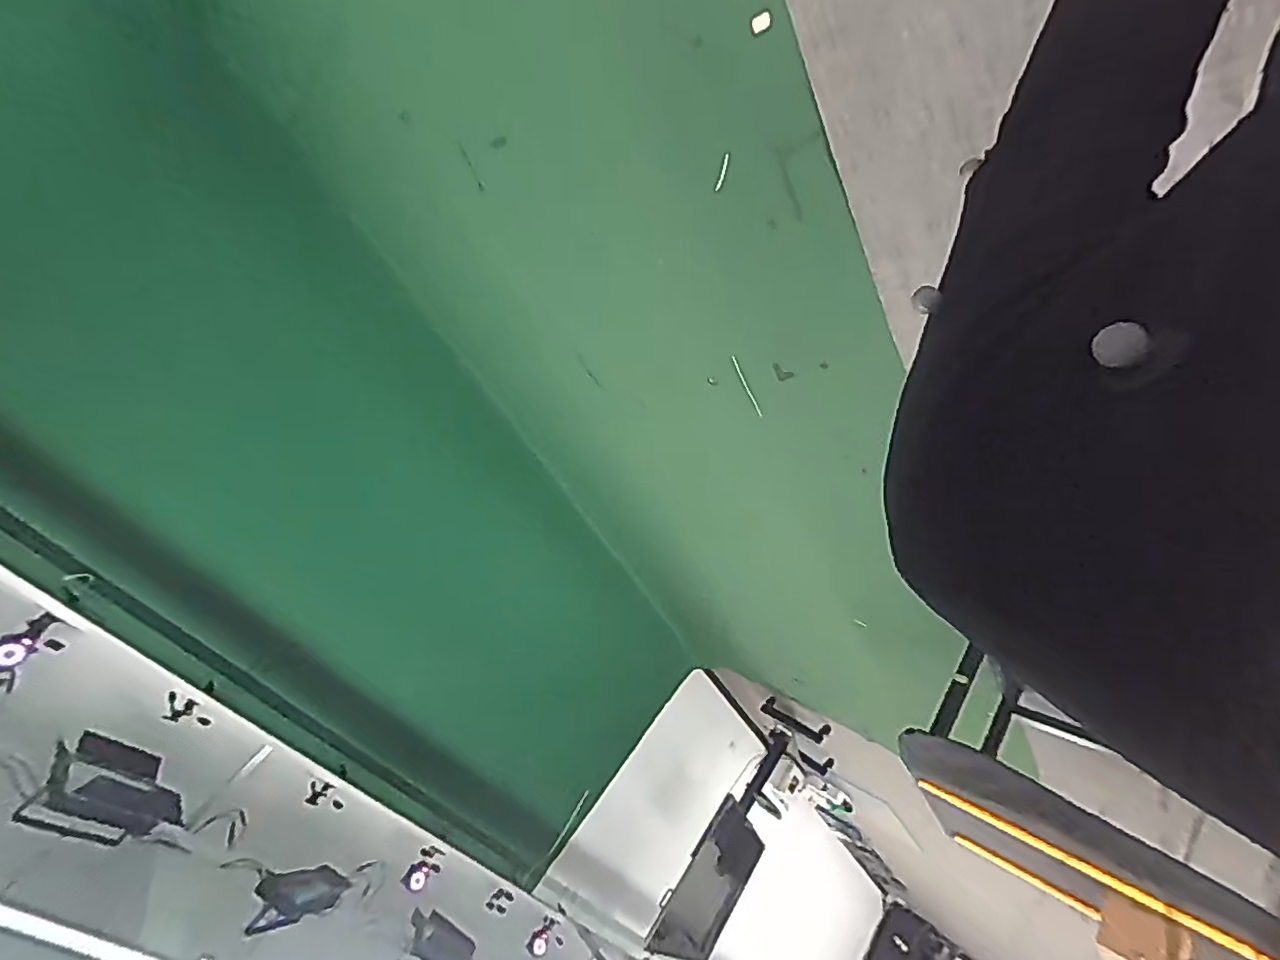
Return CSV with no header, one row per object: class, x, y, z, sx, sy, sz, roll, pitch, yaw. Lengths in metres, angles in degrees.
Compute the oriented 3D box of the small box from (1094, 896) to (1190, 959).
small box,1.425,1.340,1.532,0.168,0.176,0.179,5,137,54
